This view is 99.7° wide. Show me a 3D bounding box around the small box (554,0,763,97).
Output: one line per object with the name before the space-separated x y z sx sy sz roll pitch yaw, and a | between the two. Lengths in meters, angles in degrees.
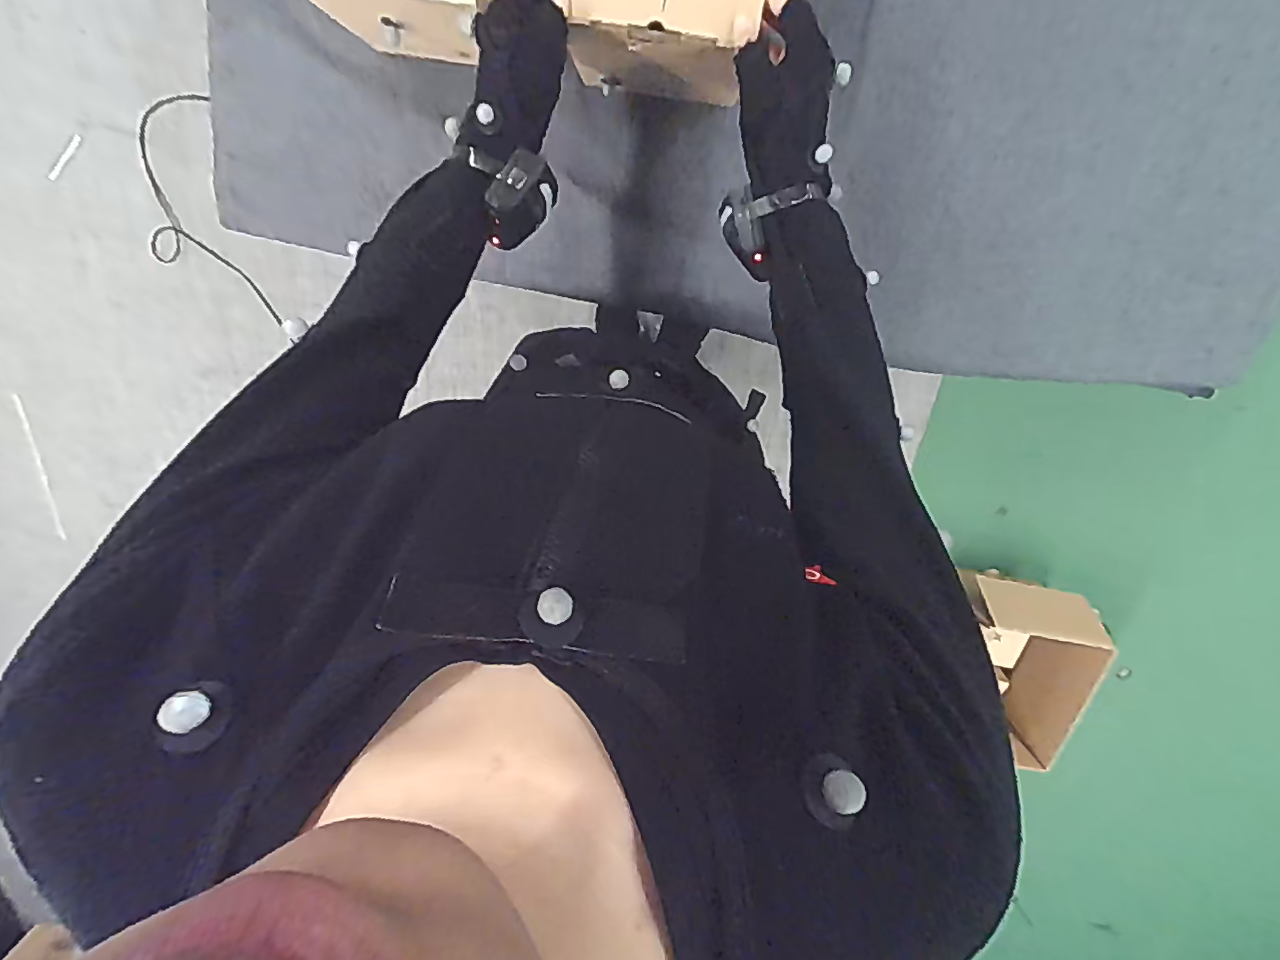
small box | 0.029 -0.463 0.469 0.168 0.176 0.179 9 111 0

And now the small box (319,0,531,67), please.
small box | -0.192 -0.496 0.470 0.168 0.176 0.179 8 111 0
